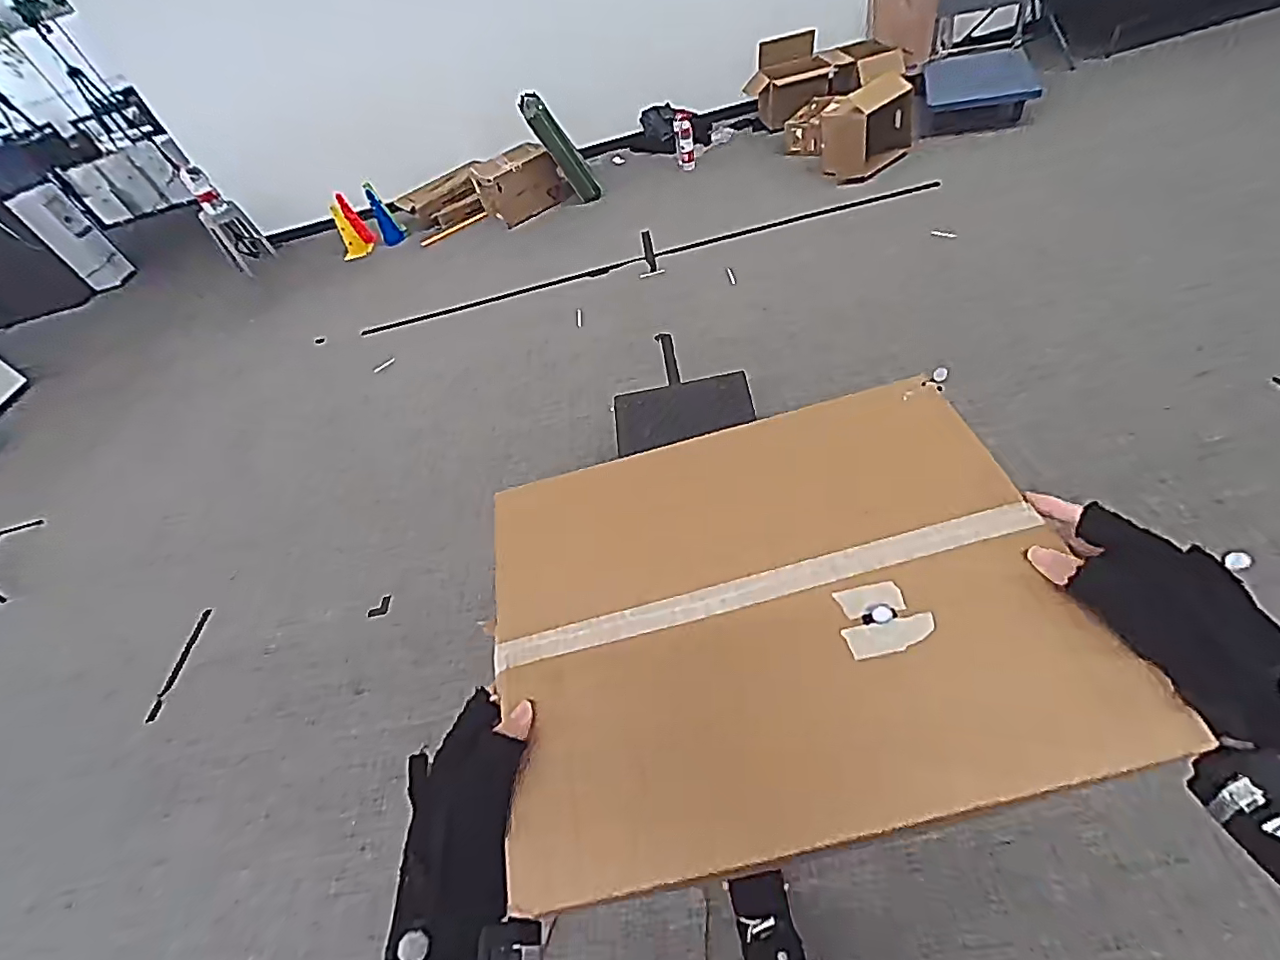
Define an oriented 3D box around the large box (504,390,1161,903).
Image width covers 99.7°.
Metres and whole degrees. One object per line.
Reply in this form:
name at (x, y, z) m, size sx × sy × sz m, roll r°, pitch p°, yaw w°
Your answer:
large box at (0.118, 0.173, 0.531) m, size 0.408 × 0.320 × 0.320 m, roll -16°, pitch 53°, yaw 2°
